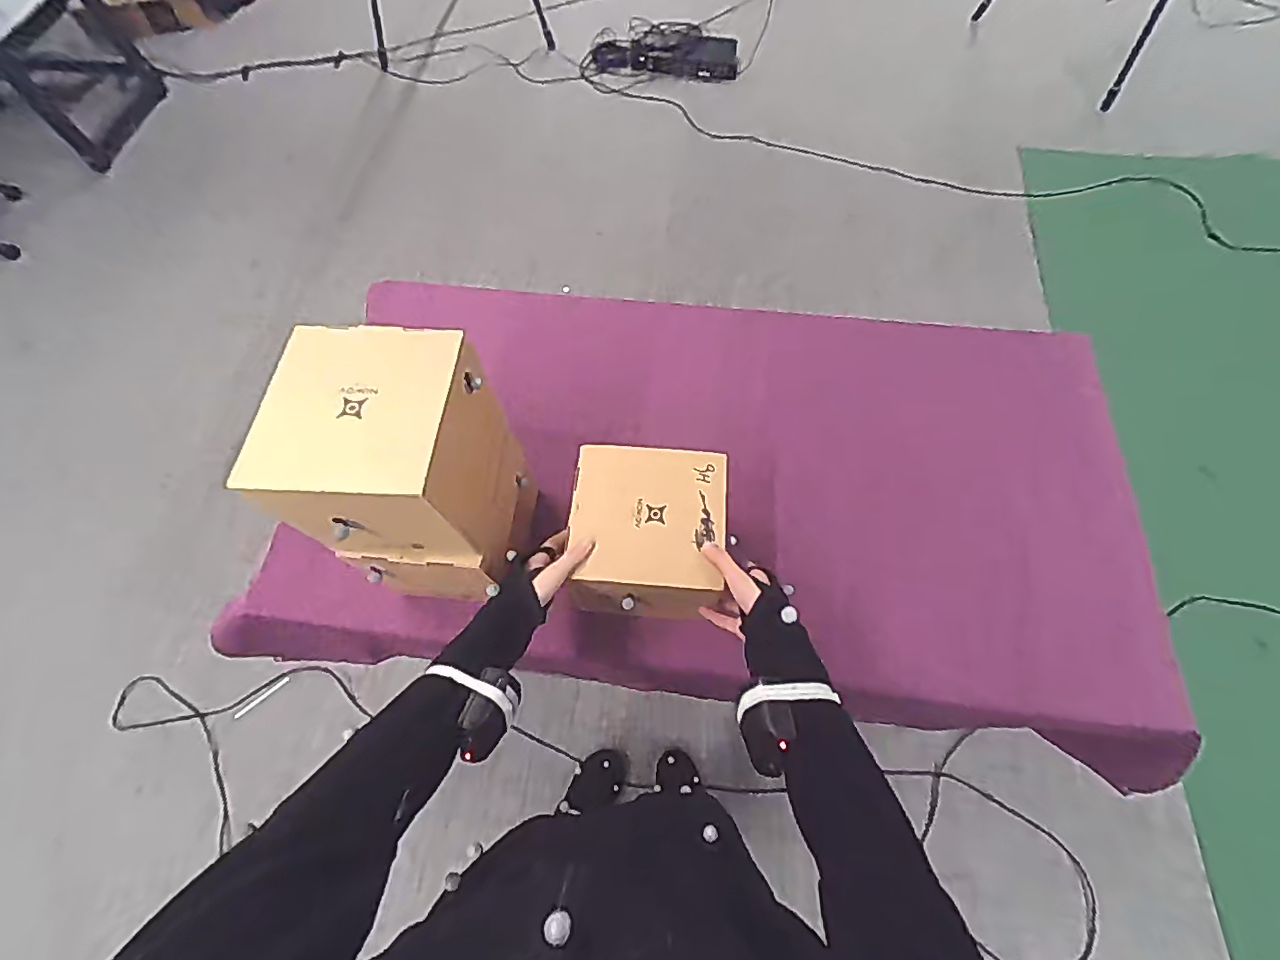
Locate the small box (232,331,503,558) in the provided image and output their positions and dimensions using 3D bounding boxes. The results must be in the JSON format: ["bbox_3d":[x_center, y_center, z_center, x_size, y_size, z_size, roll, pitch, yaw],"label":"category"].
[{"bbox_3d":[-0.249,-0.028,0.550,0.168,0.176,0.179,2,63,3],"label":"small box"}]
